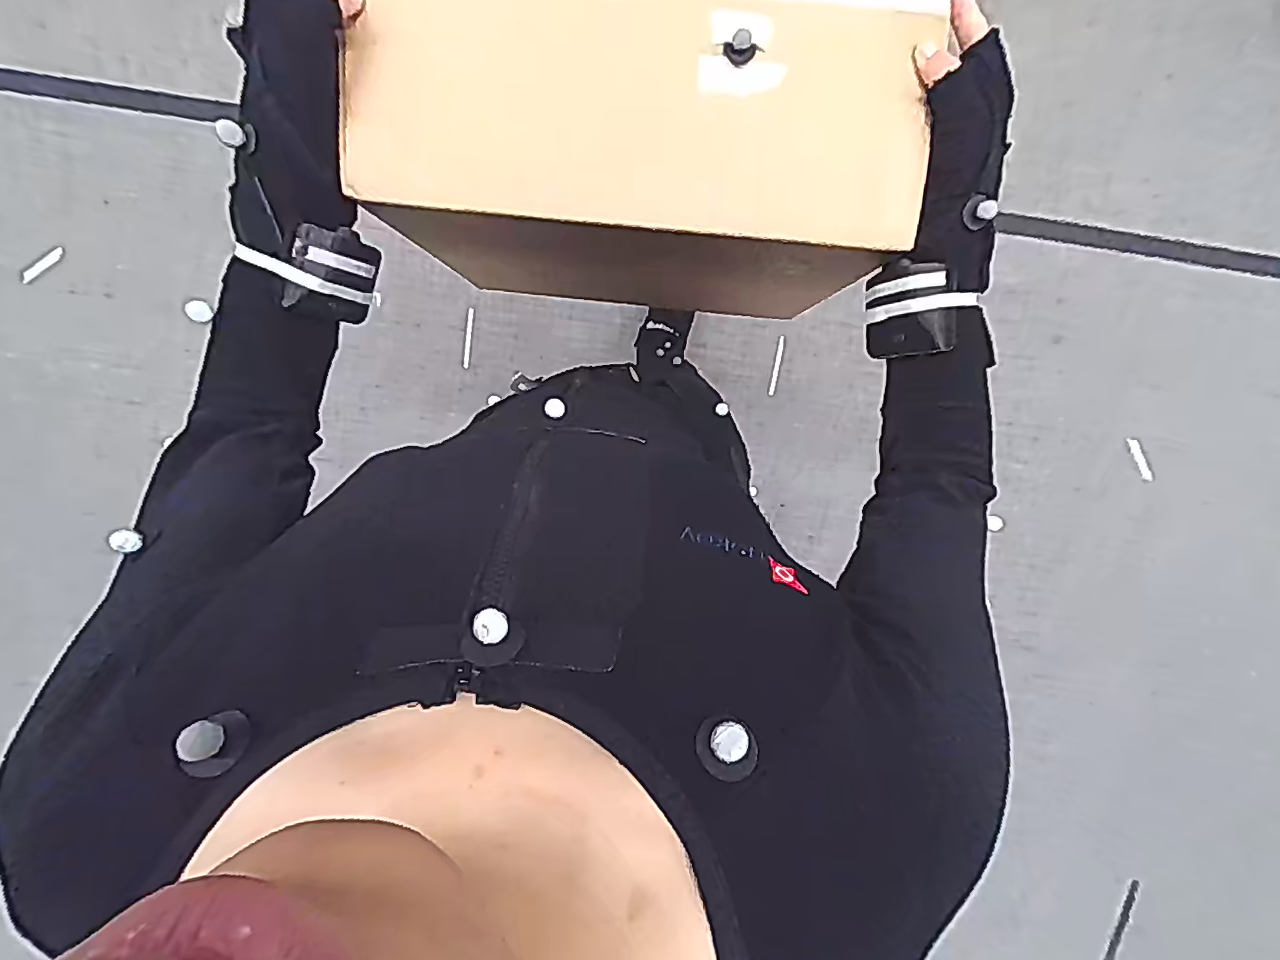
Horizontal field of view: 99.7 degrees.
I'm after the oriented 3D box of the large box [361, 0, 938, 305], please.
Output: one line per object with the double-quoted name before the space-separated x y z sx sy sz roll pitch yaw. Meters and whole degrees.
"large box" 0.008 -0.366 0.518 0.408 0.320 0.320 5 98 -1
